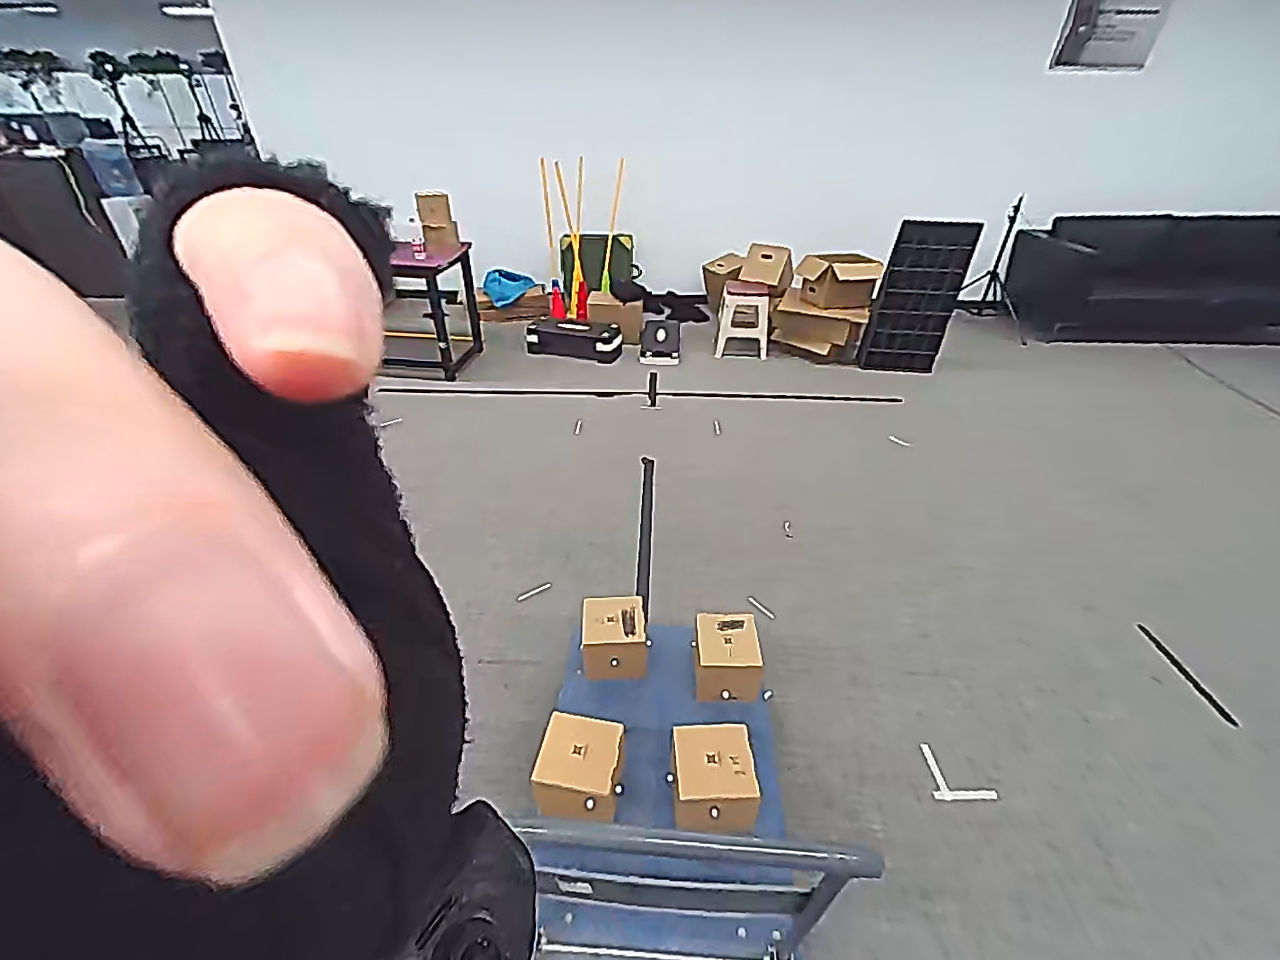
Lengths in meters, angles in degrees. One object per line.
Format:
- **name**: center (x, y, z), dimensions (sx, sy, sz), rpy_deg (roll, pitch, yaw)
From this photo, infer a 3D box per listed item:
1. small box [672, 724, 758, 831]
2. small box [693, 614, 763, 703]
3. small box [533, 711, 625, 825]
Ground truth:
- **small box**: center (0.165, 0.694, 1.259), dimensions (0.179, 0.176, 0.168), rpy_deg (0, 35, -2)
- **small box**: center (0.241, 0.503, 1.530), dimensions (0.168, 0.176, 0.179), rpy_deg (1, 36, 1)
- **small box**: center (-0.138, 0.678, 1.272), dimensions (0.179, 0.176, 0.168), rpy_deg (8, 35, 7)
